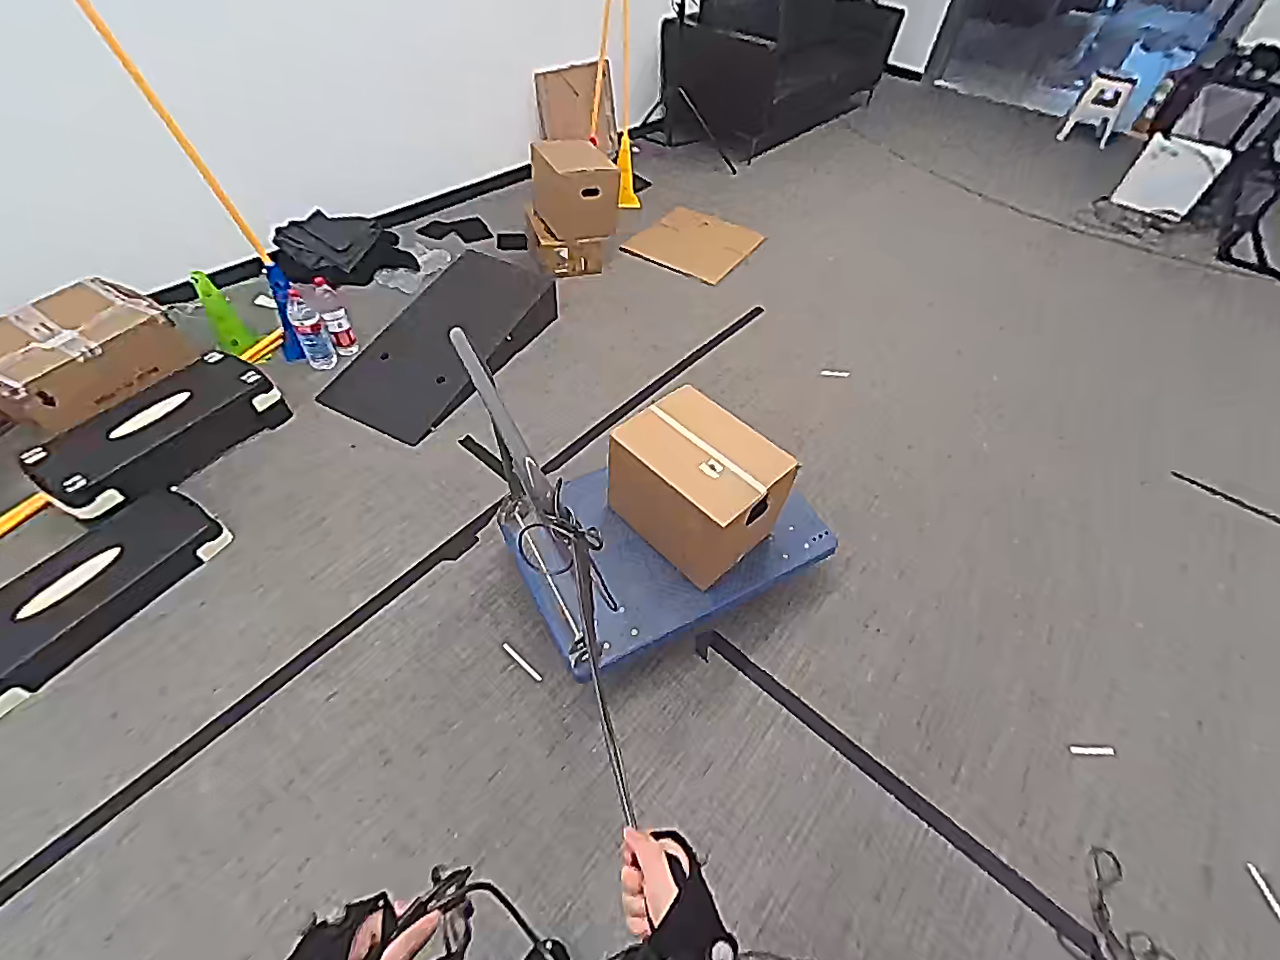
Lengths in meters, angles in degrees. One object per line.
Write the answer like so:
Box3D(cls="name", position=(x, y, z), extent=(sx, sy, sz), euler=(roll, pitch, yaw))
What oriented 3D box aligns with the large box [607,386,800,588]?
Box3D(cls="large box", position=(0.154, 0.014, 1.507), extent=(0.320, 0.320, 0.408), euler=(-35, 62, -28))
